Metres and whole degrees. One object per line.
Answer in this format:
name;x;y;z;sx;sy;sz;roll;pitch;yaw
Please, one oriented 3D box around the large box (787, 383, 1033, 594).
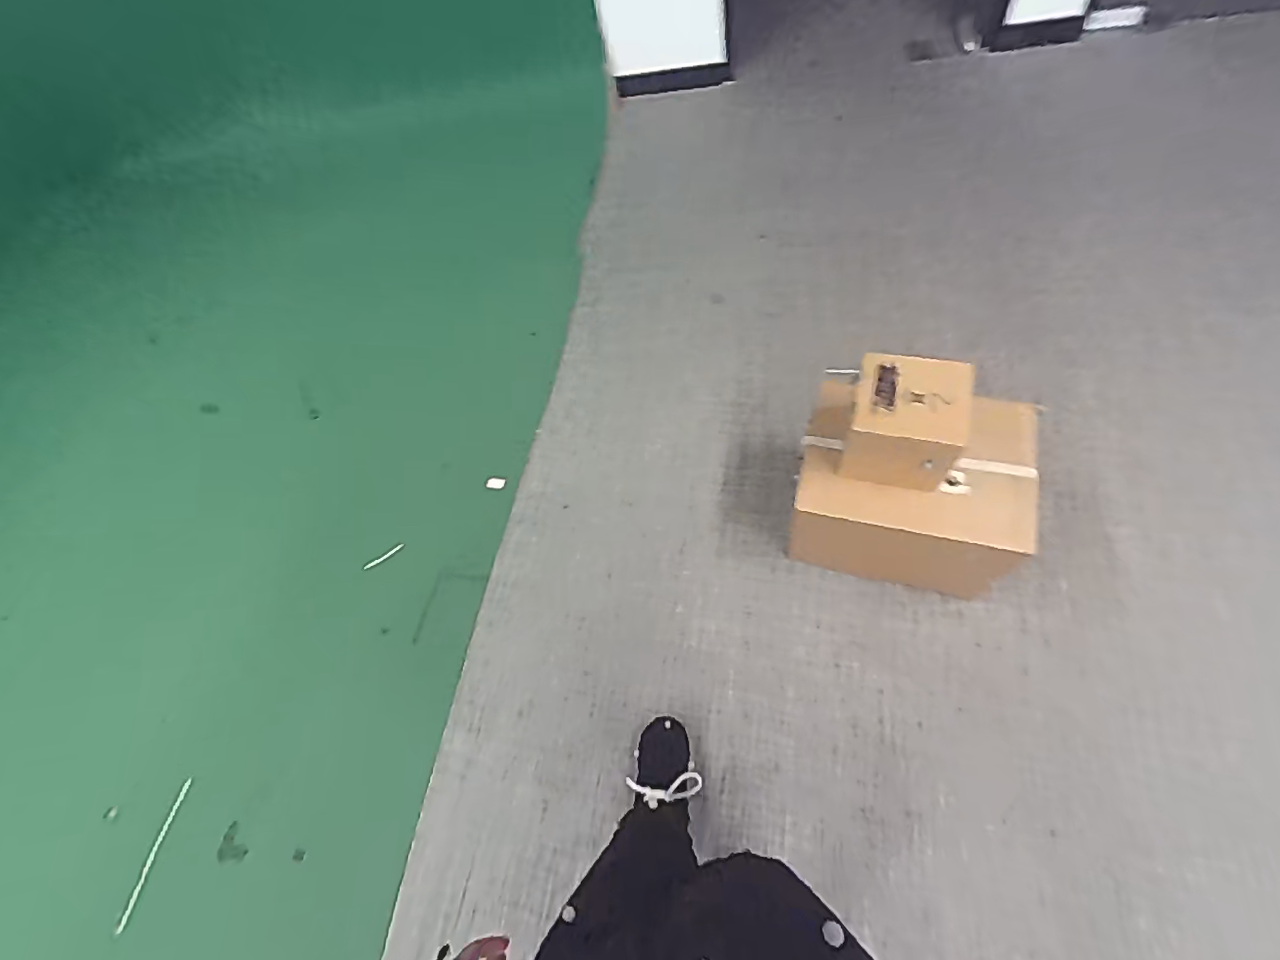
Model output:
large box;0.548;0.023;1.166;0.408;0.320;0.320;10;67;16
